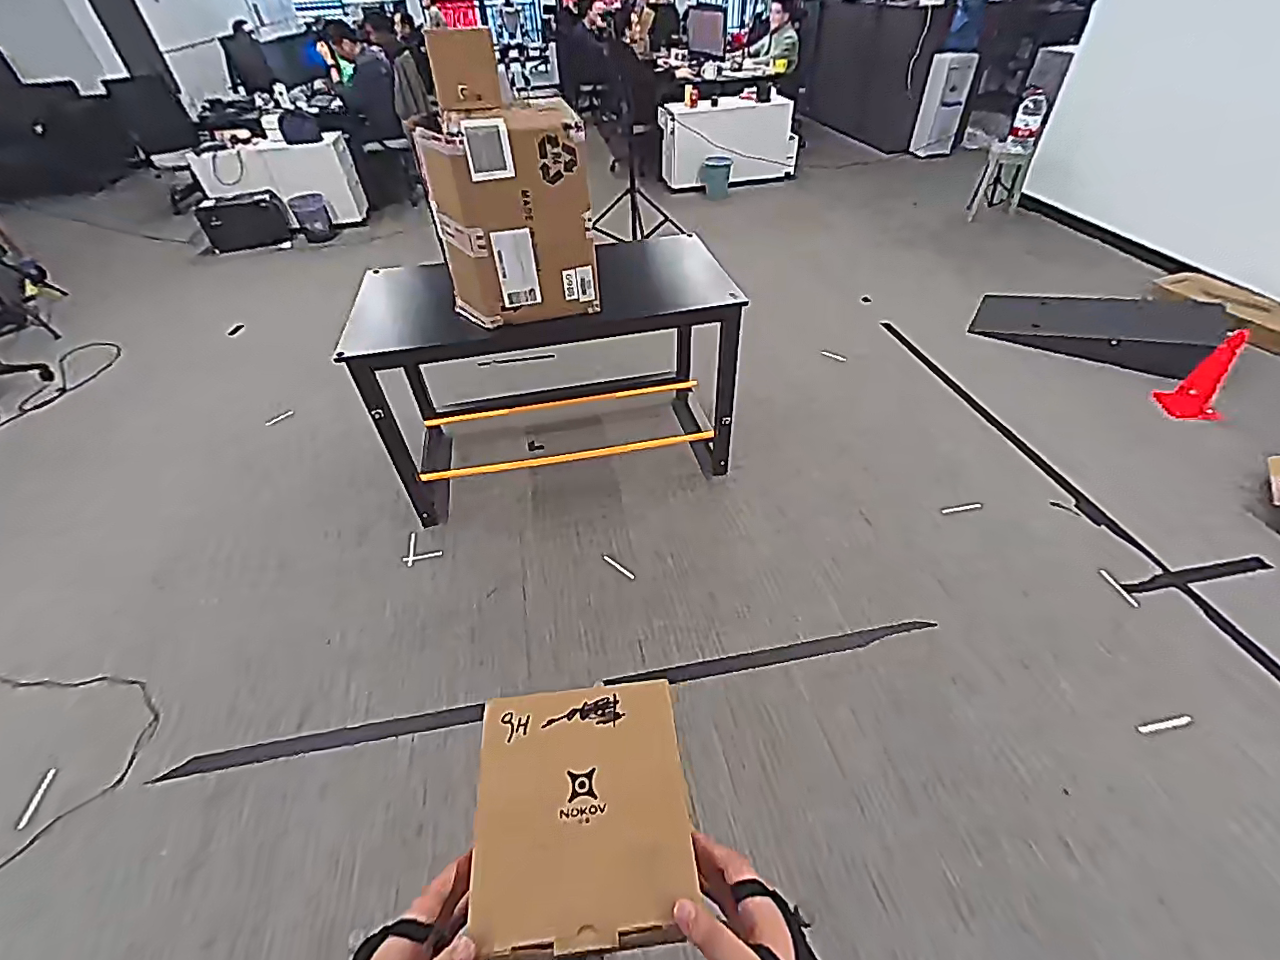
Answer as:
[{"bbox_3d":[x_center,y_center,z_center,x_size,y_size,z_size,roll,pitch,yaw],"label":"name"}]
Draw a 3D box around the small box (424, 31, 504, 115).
[{"bbox_3d":[-0.463,-1.076,1.431,0.168,0.176,0.179,-13,42,-11],"label":"small box"}]
